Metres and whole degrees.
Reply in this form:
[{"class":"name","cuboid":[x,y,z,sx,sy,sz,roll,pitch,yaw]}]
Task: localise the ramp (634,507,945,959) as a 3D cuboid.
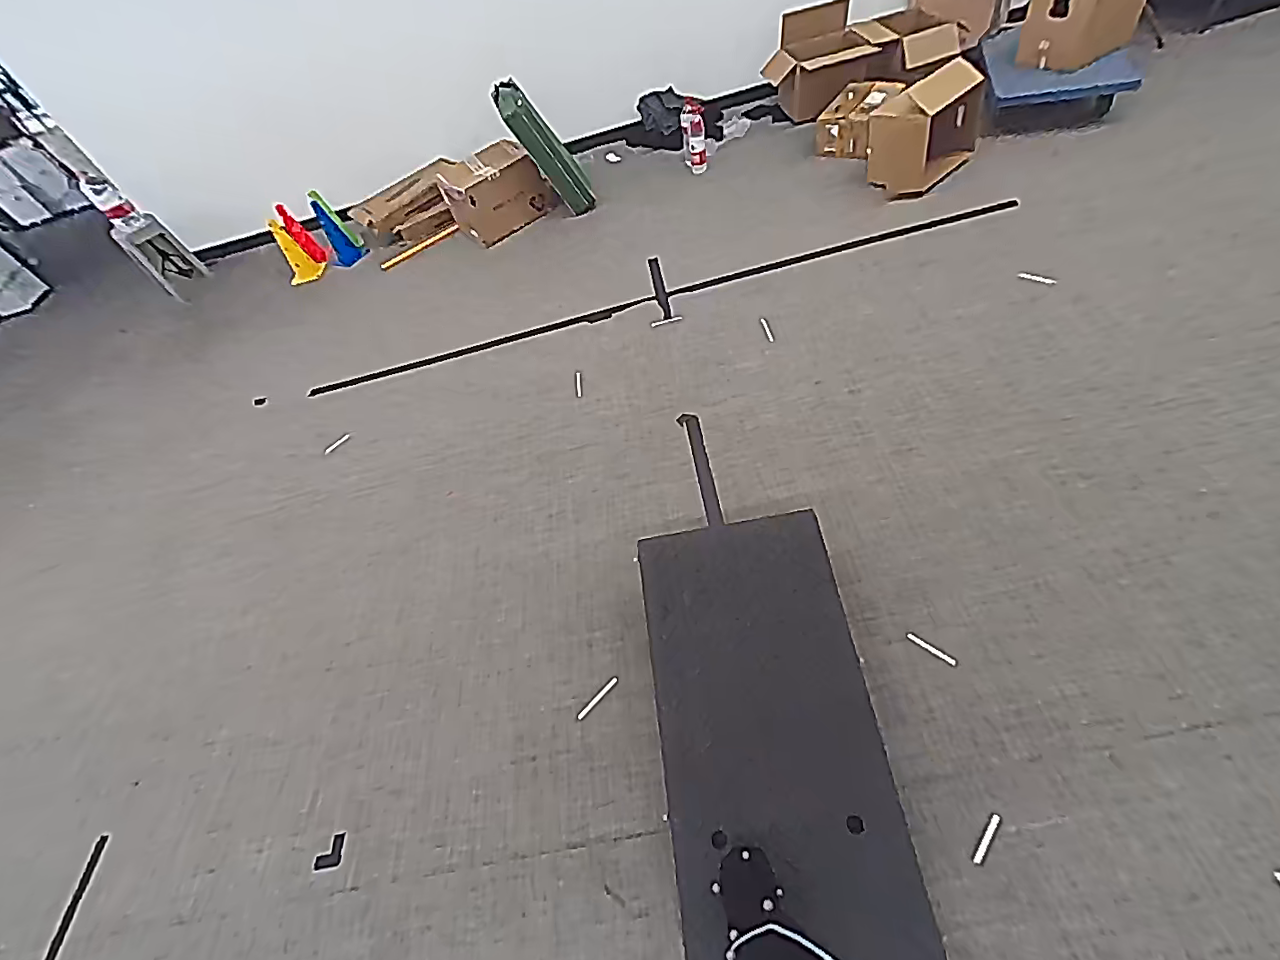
[{"class":"ramp","cuboid":[0.282,0.556,1.245,0.509,0.206,0.991,-12,52,5]}]
